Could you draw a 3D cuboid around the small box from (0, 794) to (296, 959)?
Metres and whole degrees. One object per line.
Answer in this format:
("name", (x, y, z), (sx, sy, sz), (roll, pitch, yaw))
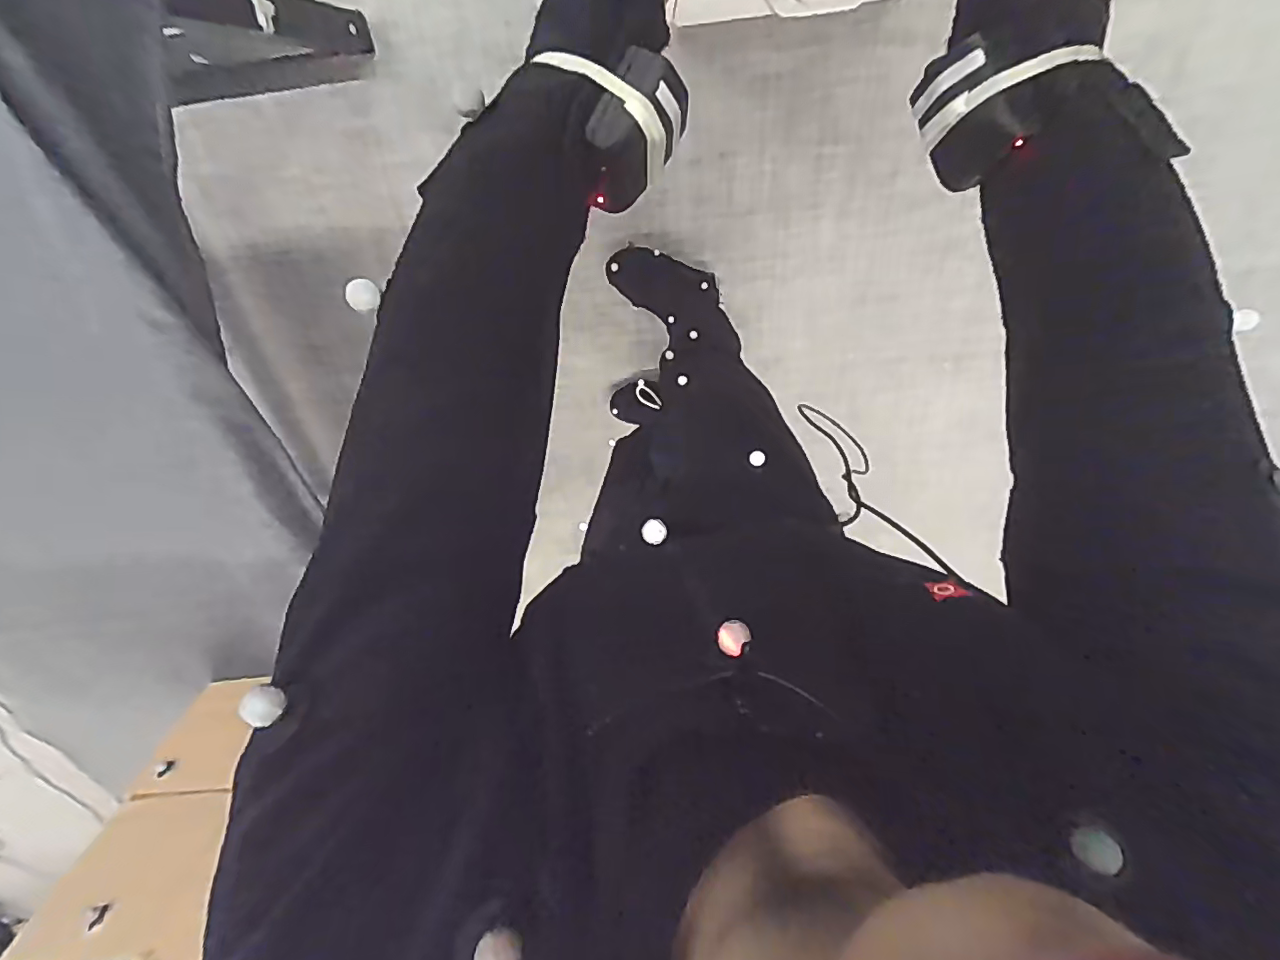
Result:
("small box", (-0.545, 0.488, 0.628), (0.179, 0.176, 0.168), (-8, 123, 9))

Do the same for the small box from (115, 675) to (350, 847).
("small box", (-0.544, 0.393, 0.761), (0.179, 0.176, 0.168), (-8, 125, 8))
